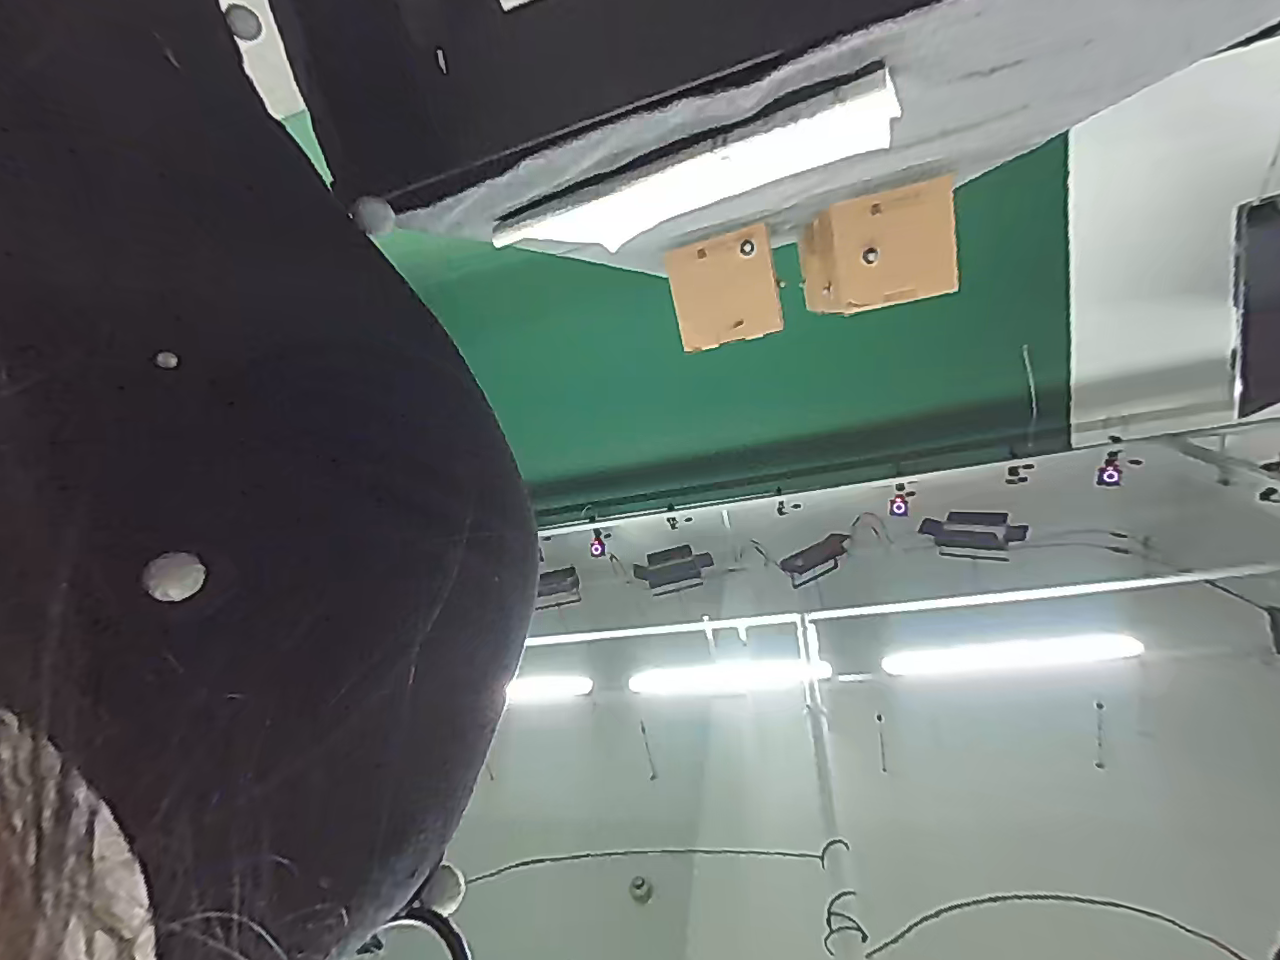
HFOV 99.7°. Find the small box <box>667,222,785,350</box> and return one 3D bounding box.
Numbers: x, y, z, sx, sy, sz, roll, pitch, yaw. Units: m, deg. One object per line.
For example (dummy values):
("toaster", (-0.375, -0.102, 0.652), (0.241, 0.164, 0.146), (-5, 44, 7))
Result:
("small box", (0.154, -0.337, 0.943), (0.168, 0.176, 0.179), (-9, -163, 17))
